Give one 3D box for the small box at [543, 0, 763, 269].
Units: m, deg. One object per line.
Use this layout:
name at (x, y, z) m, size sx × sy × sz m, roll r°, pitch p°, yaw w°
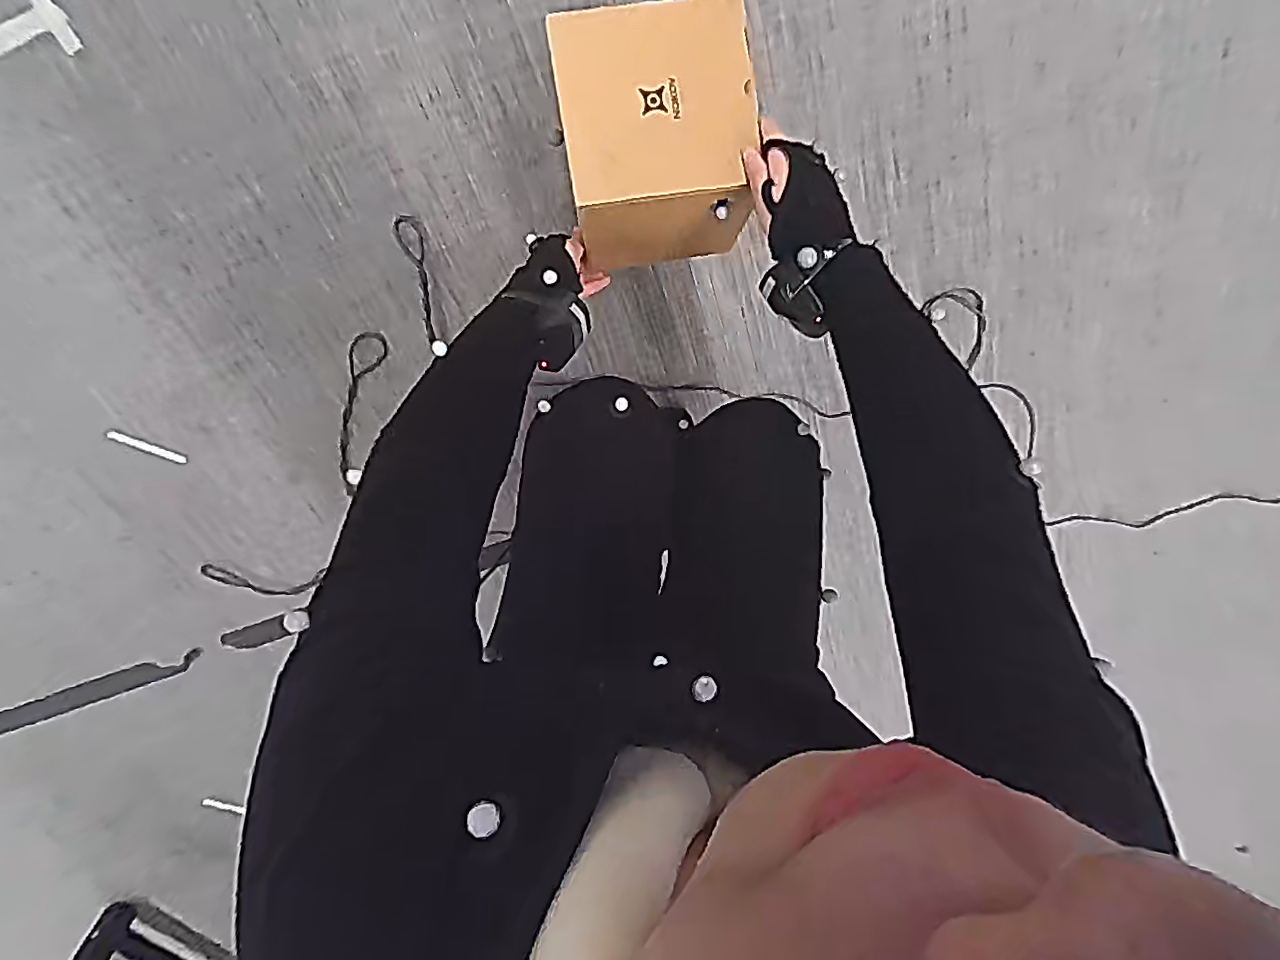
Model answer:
small box at (0.010, -0.334, 0.556) m, size 0.179 × 0.176 × 0.168 m, roll -10°, pitch 93°, yaw -3°
